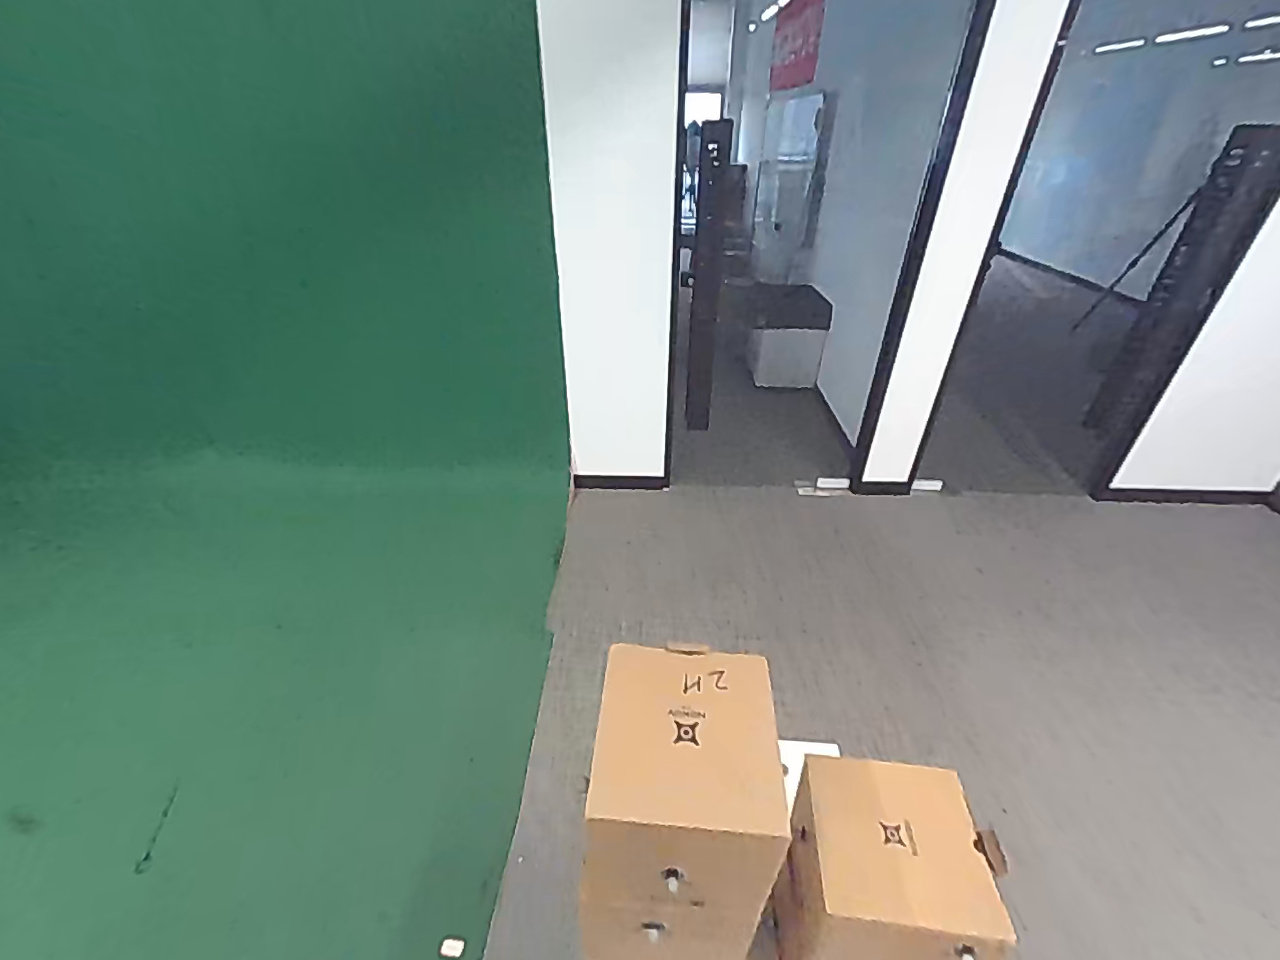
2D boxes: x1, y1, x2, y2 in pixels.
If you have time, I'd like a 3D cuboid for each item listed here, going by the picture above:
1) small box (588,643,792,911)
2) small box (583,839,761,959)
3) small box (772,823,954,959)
[{"bbox_3d":[0.044,0.293,0.539,0.168,0.176,0.179,5,34,2],"label":"small box"},{"bbox_3d":[0.034,0.432,0.627,0.179,0.176,0.168,5,34,2],"label":"small box"},{"bbox_3d":[0.277,0.582,0.705,0.179,0.176,0.168,2,33,5],"label":"small box"}]
